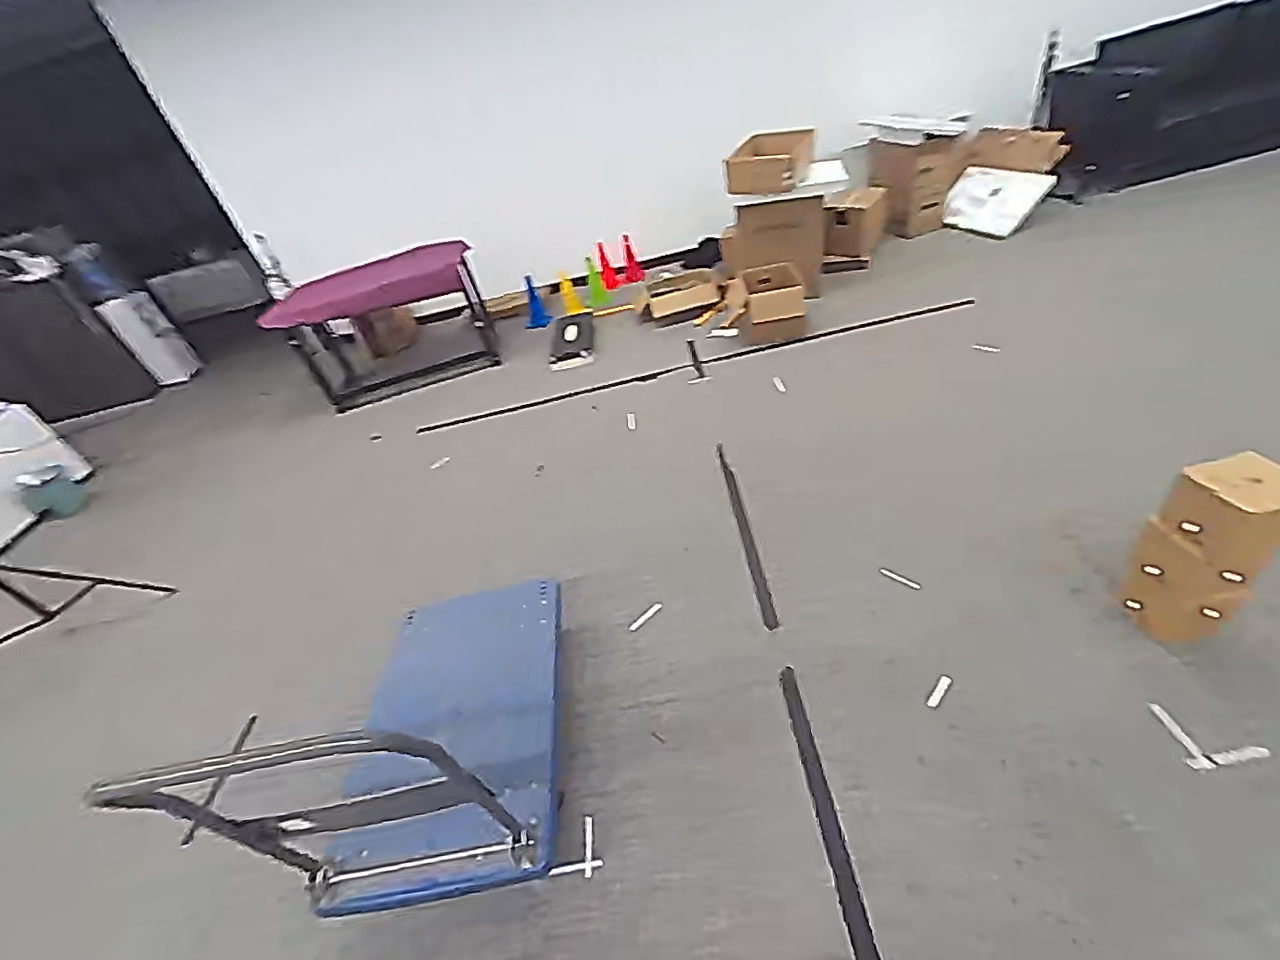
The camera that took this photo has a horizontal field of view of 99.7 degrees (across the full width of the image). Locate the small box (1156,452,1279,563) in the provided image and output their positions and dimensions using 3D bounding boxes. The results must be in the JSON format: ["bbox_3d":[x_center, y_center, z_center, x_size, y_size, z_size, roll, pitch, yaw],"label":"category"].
[{"bbox_3d":[1.387,0.066,1.272,0.179,0.176,0.168,-16,37,1],"label":"small box"}]

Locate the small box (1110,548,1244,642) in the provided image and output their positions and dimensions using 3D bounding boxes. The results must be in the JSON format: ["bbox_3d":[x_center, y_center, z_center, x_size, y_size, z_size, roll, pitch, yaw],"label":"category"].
[{"bbox_3d":[1.451,0.316,1.477,0.179,0.176,0.168,-13,38,3],"label":"small box"}]
